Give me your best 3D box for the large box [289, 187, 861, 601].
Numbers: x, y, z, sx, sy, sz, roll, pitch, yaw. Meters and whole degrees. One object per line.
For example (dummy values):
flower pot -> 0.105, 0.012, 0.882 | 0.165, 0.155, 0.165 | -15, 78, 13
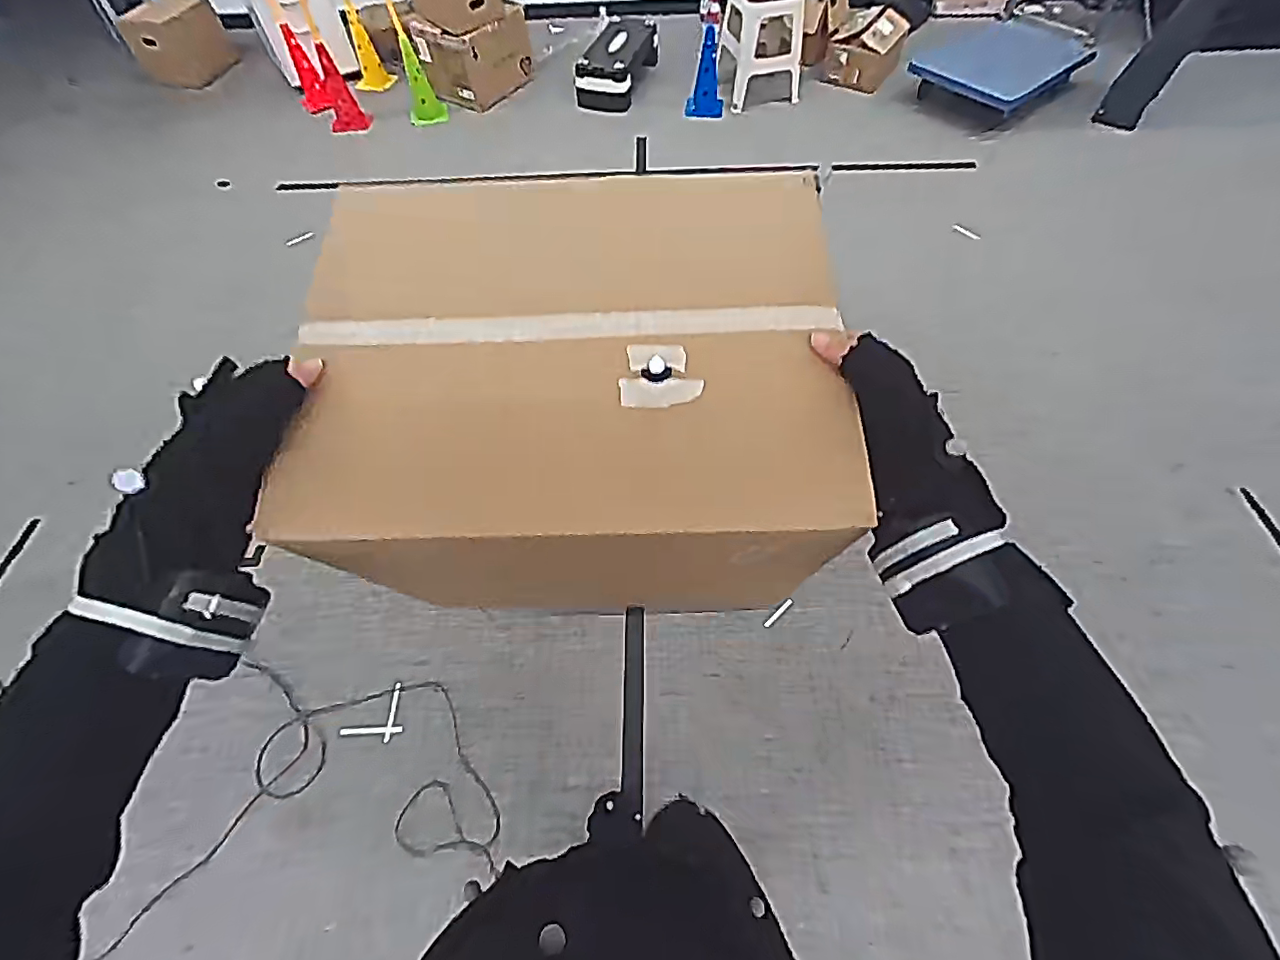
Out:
large box -> -0.047, -0.057, 0.562 | 0.408, 0.320, 0.320 | -1, 69, 1
